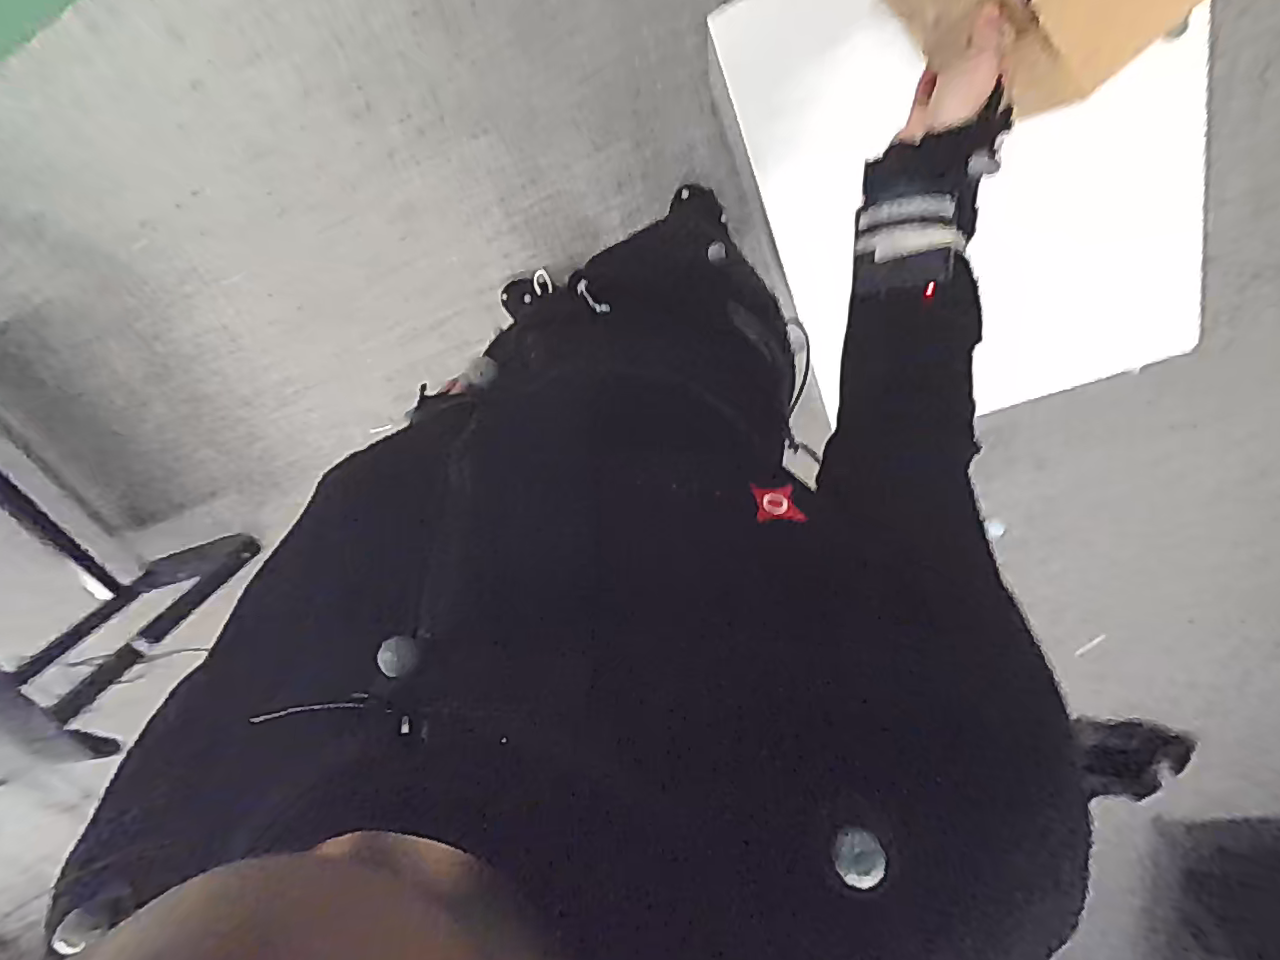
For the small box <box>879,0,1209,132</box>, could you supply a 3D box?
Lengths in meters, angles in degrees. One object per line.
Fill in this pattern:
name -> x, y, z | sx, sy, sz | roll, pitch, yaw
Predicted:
small box -> 0.307, -0.390, 0.385 | 0.168, 0.176, 0.179 | 43, 114, -14
